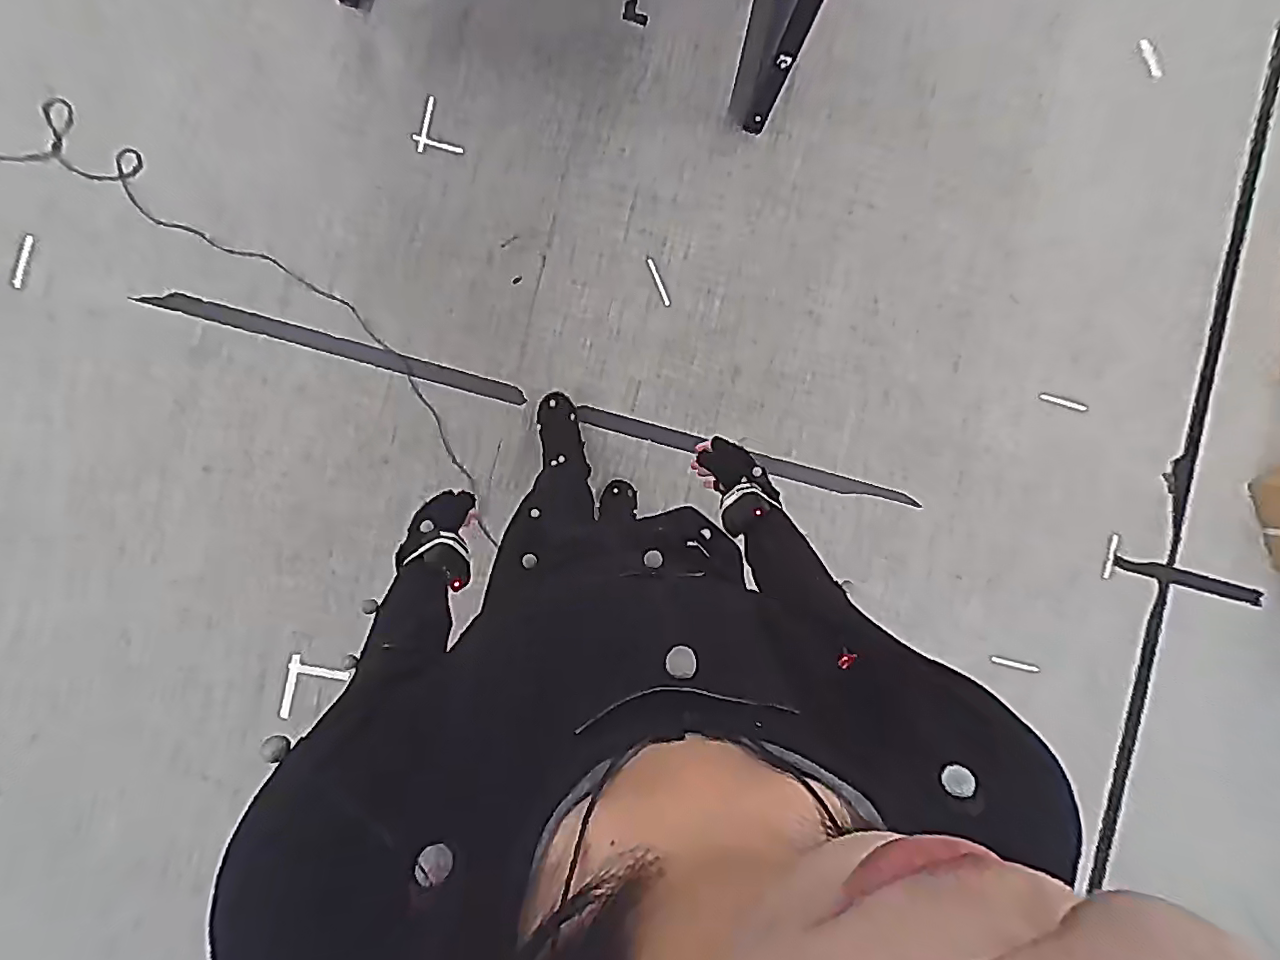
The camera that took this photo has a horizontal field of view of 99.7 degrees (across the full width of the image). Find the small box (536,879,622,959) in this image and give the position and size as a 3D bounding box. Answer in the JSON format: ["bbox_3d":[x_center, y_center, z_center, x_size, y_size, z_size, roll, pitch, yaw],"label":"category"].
[{"bbox_3d":[-0.165,1.205,1.425,0.179,0.176,0.168,27,88,-4],"label":"small box"}]
